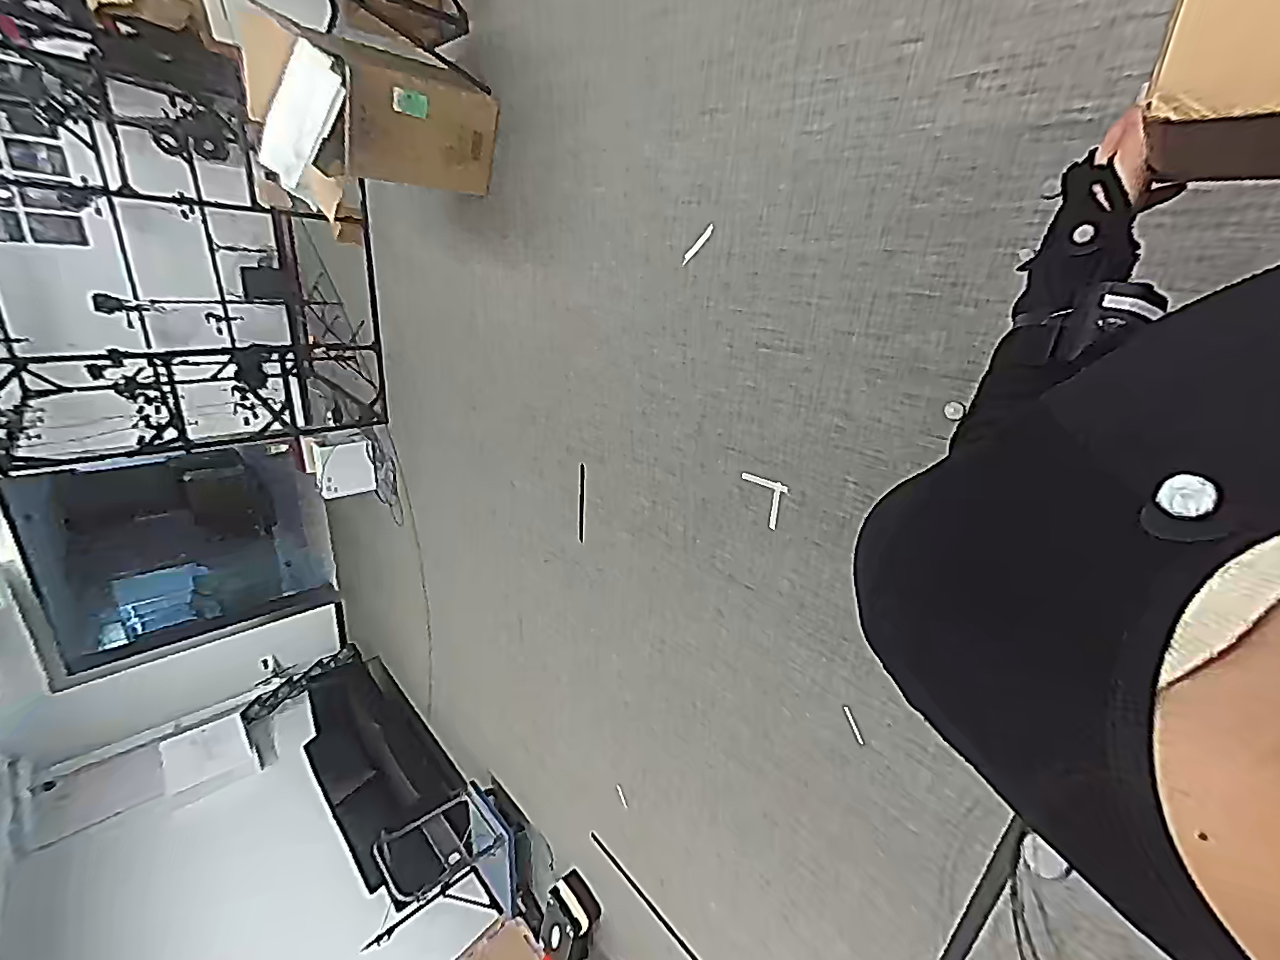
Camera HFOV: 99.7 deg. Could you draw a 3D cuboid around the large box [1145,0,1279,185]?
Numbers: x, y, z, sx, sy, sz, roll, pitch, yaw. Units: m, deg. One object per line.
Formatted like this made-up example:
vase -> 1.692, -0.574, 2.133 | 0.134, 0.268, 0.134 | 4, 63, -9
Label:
large box -> 0.466, -0.289, 0.163 | 0.408, 0.320, 0.320 | 19, 120, 36
